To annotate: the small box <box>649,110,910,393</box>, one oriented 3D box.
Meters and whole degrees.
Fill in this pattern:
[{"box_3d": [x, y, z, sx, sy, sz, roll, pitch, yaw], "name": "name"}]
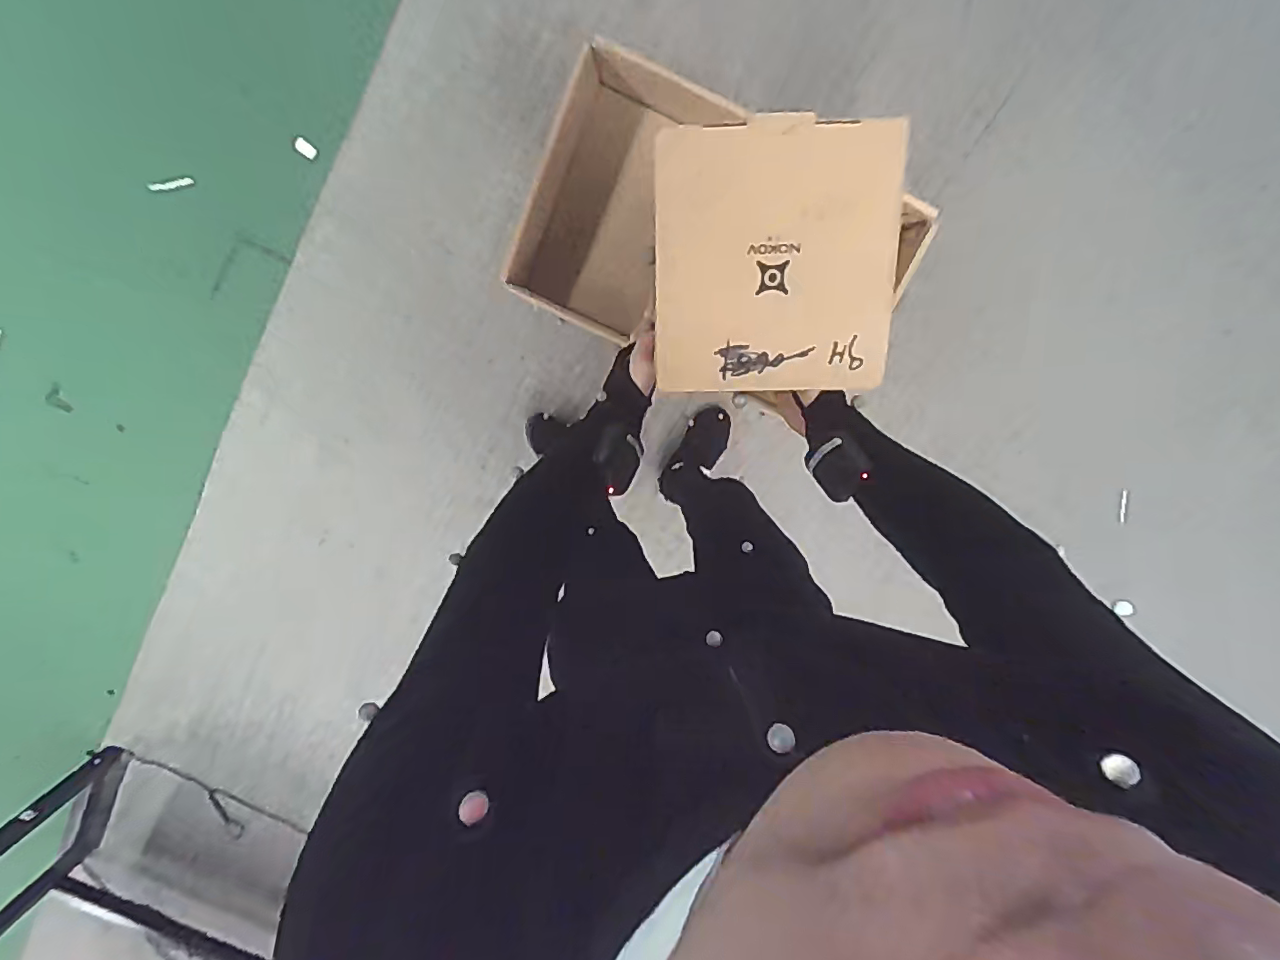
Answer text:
[{"box_3d": [0.091, -0.164, 0.435, 0.168, 0.176, 0.179, -1, 104, 2], "name": "small box"}]
